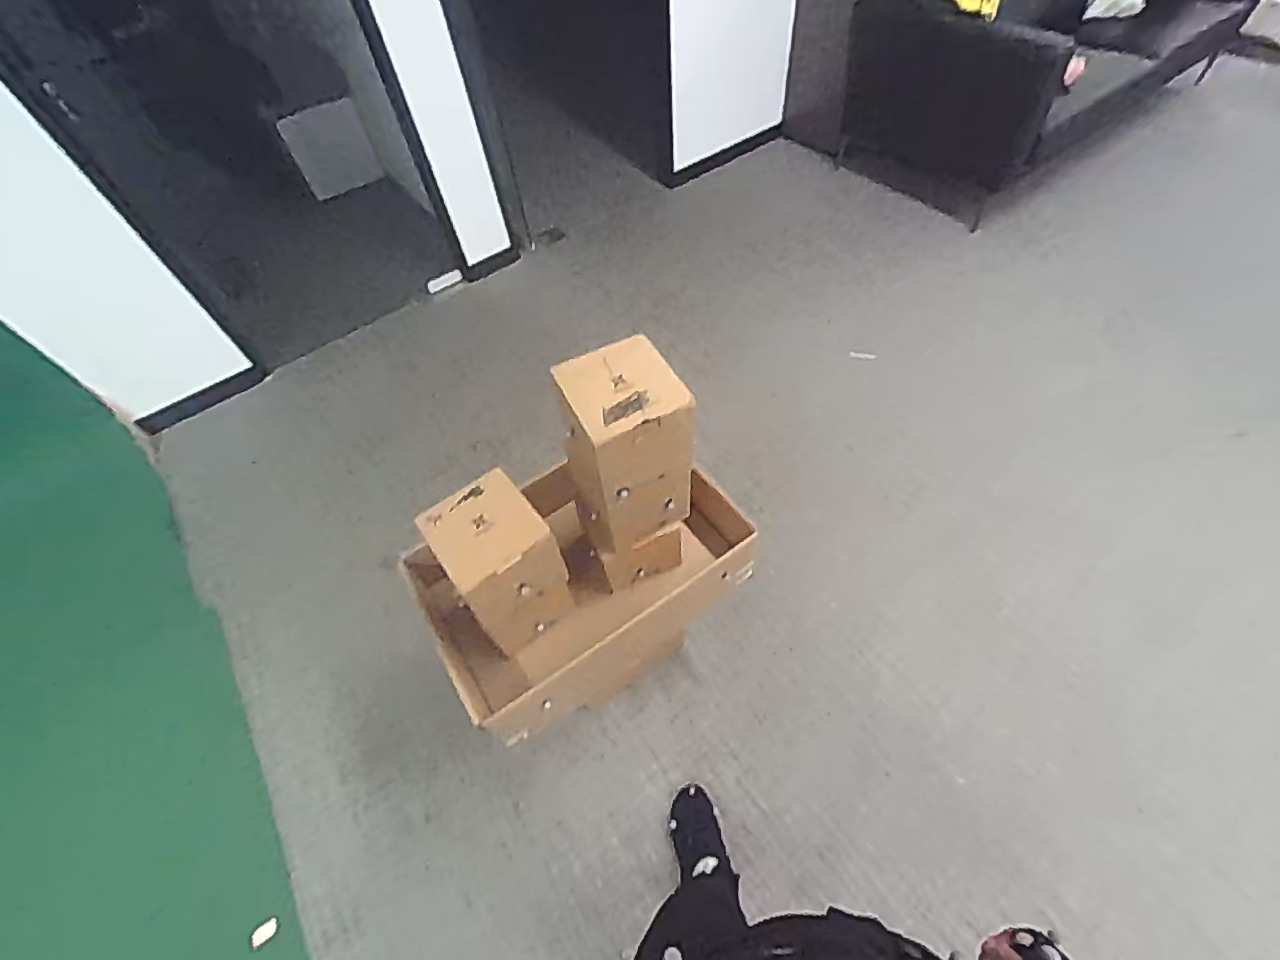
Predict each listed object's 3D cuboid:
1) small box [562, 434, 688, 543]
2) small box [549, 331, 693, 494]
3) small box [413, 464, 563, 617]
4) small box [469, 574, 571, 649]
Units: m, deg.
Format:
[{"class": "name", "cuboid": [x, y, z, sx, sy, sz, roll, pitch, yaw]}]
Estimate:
[{"class": "small box", "cuboid": [-0.023, -0.006, 1.000, 0.168, 0.176, 0.179, -26, 57, -14]}, {"class": "small box", "cuboid": [-0.026, -0.099, 0.865, 0.168, 0.176, 0.179, -23, 56, -13]}, {"class": "small box", "cuboid": [-0.251, 0.113, 0.929, 0.168, 0.176, 0.179, -34, 60, -19]}, {"class": "small box", "cuboid": [-0.257, 0.202, 1.068, 0.168, 0.176, 0.179, -35, 60, -18]}]
